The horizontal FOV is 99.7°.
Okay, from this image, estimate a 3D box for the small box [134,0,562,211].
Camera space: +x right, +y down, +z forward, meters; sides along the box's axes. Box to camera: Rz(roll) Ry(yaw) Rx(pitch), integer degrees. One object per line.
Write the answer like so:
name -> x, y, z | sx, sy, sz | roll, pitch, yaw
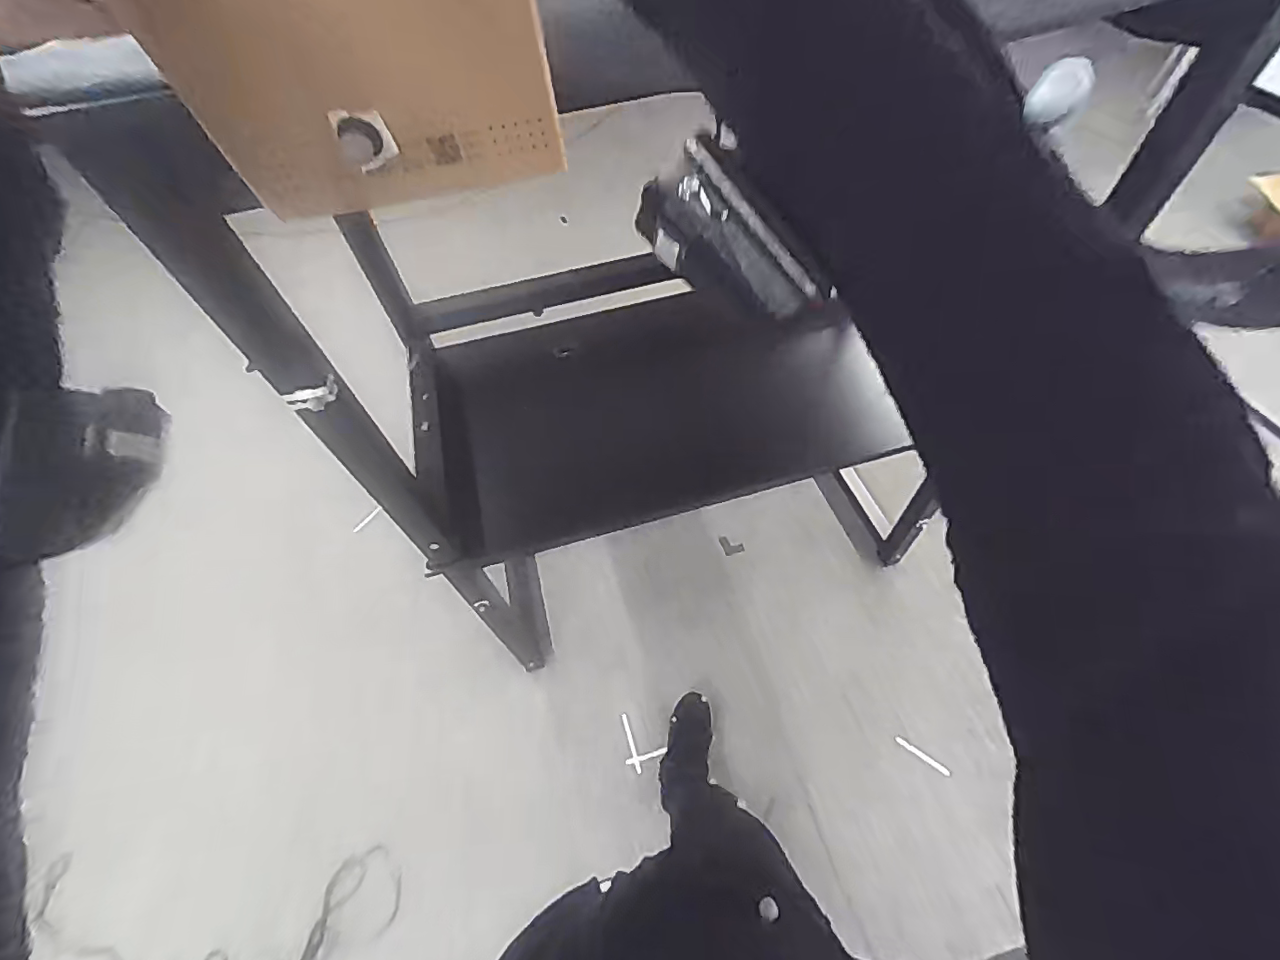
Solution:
small box -> -0.140, -0.268, 0.262 | 0.168, 0.176, 0.179 | -11, 64, -1
